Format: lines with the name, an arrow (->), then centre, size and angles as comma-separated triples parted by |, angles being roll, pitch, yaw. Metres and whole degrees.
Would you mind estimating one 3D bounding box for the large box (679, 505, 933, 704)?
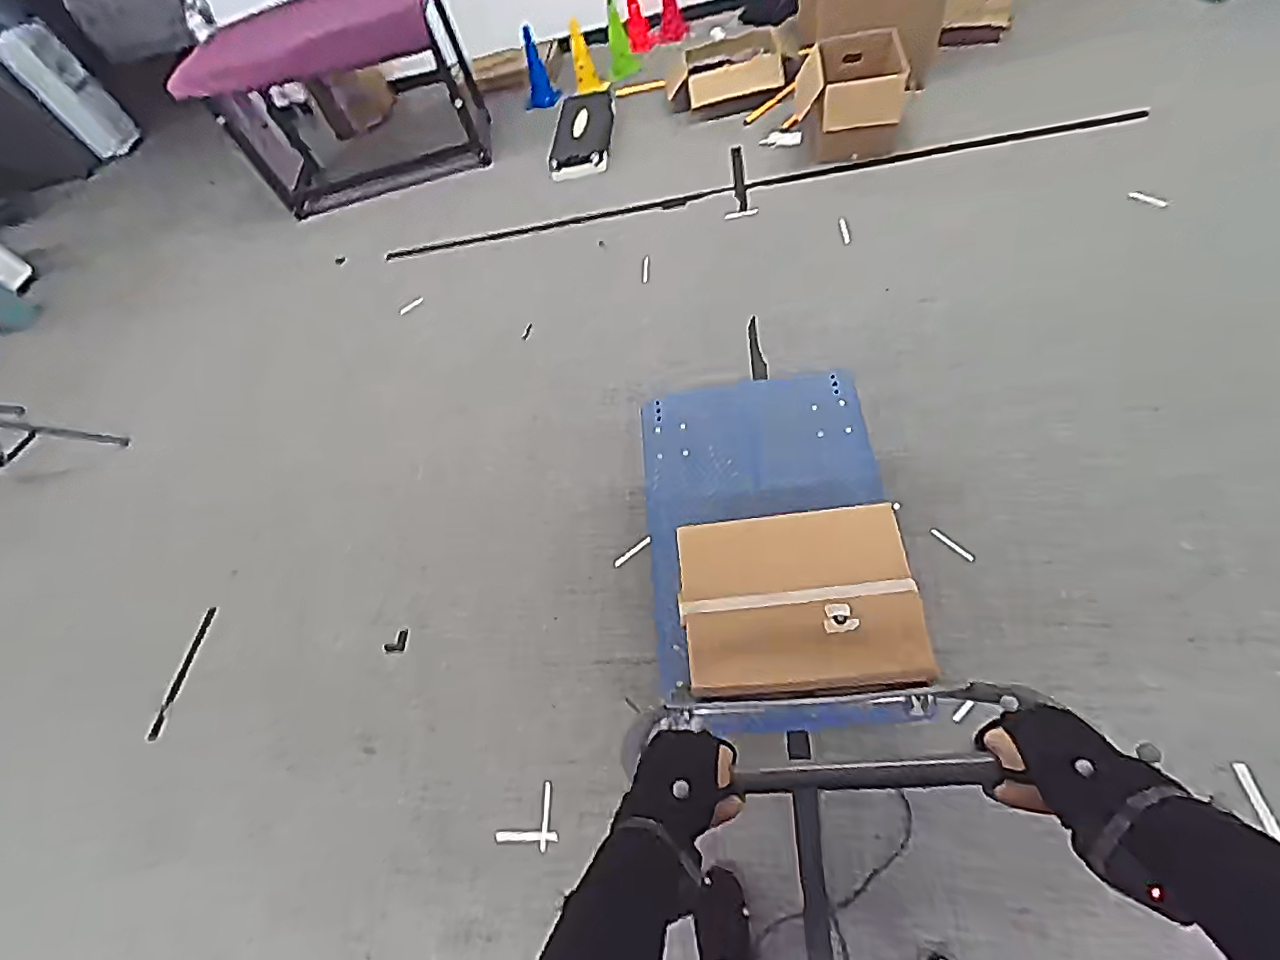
large box -> 0.308, 0.274, 1.117 | 0.408, 0.320, 0.320 | -8, 66, 7
